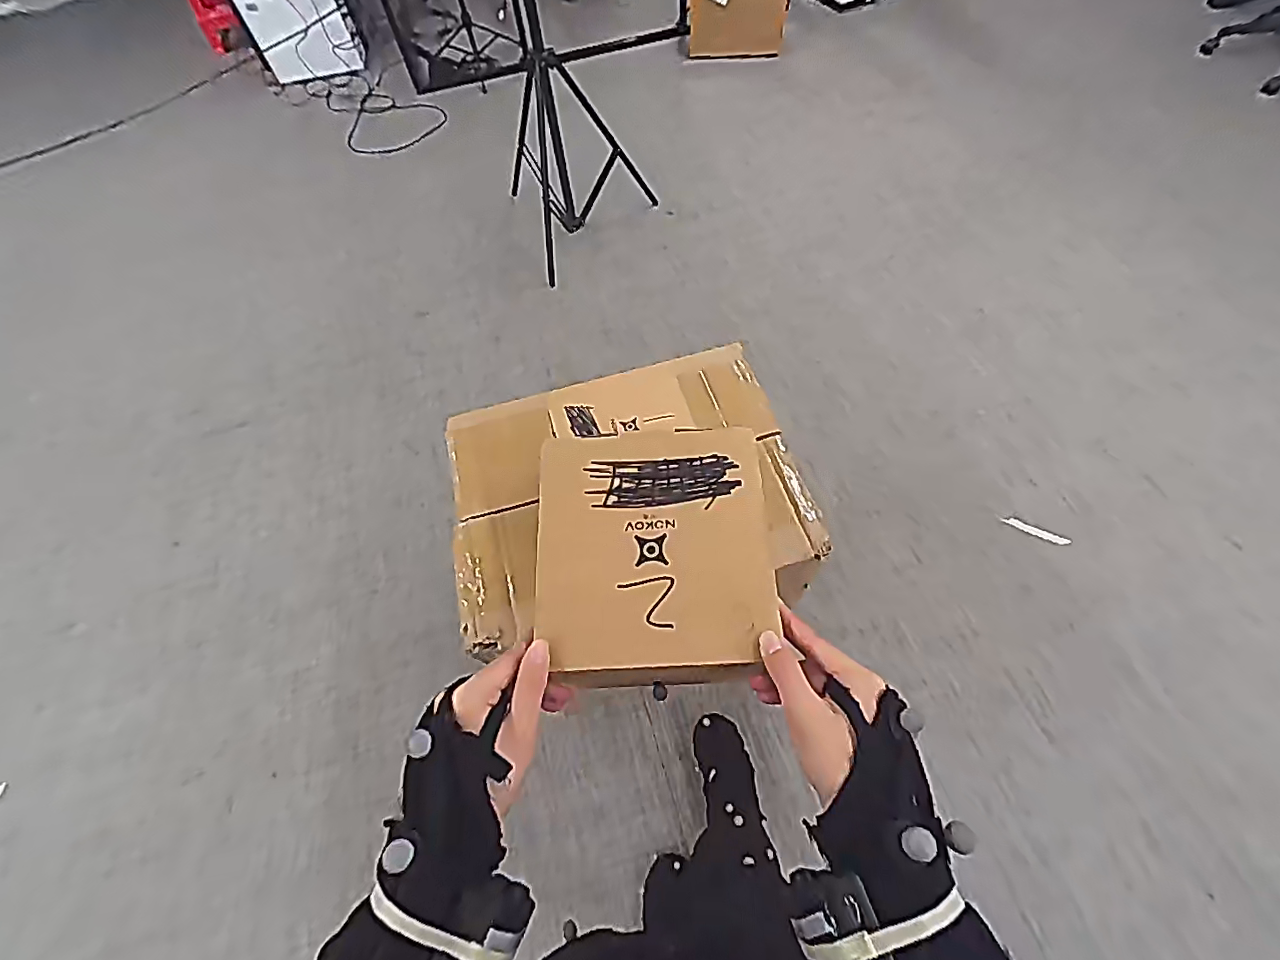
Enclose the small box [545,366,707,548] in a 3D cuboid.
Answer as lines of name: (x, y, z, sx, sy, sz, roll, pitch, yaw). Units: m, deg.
small box: (-0.016, -0.024, 0.745, 0.179, 0.176, 0.168, -15, 61, -5)
